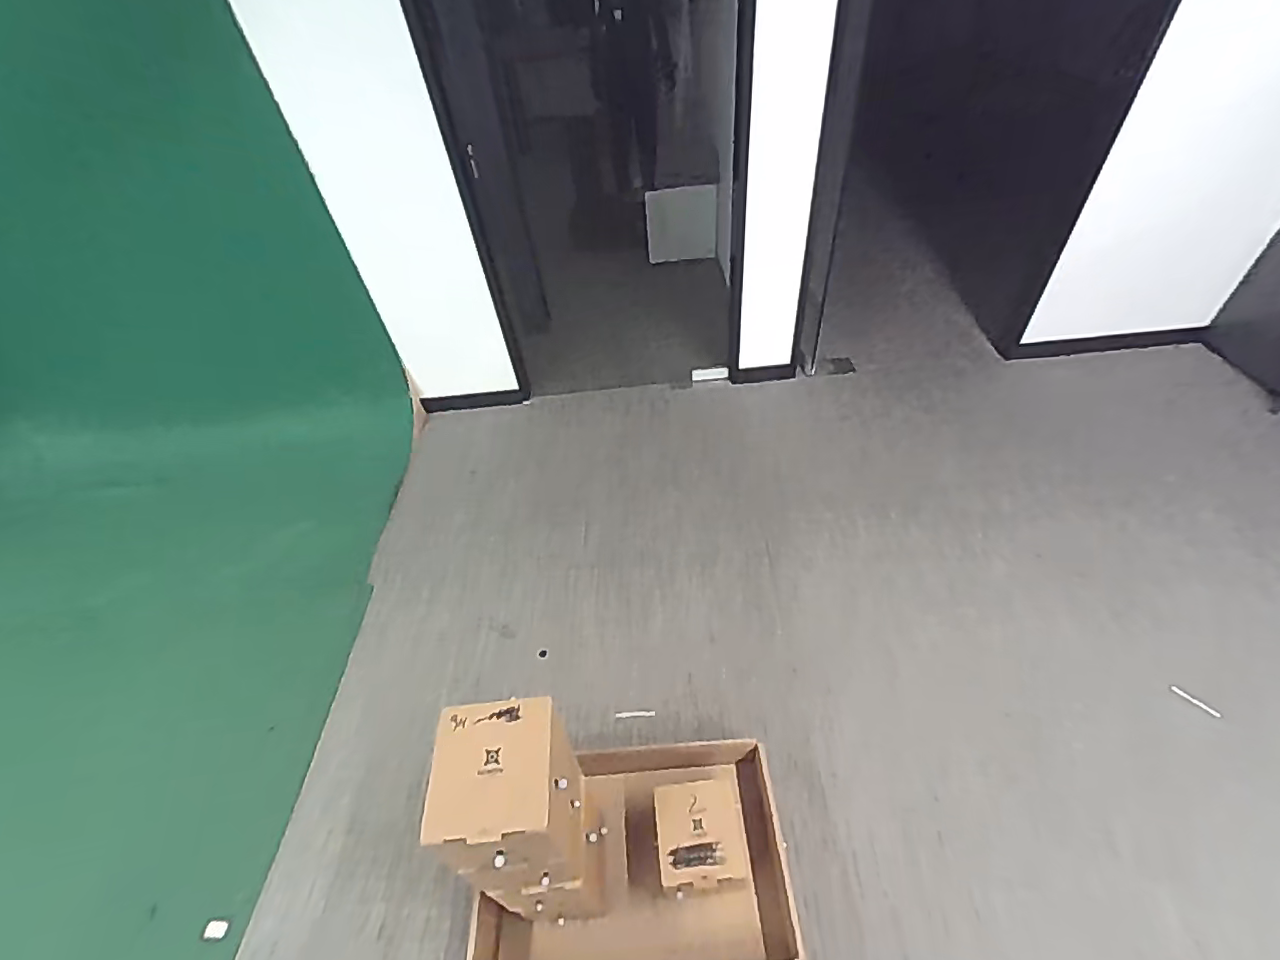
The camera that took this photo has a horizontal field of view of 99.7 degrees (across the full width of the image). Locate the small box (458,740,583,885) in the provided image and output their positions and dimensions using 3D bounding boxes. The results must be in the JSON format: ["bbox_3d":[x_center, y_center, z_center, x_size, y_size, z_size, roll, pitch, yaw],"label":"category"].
[{"bbox_3d":[-0.187,0.559,0.906,0.168,0.176,0.179,-5,45,-1],"label":"small box"}]

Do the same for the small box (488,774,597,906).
[{"bbox_3d":[-0.174,0.678,1.018,0.168,0.176,0.179,-4,46,1],"label":"small box"}]

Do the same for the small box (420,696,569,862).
[{"bbox_3d":[-0.198,0.442,0.792,0.168,0.176,0.179,-5,46,-1],"label":"small box"}]

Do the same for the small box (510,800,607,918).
[{"bbox_3d":[-0.162,0.793,1.132,0.168,0.176,0.179,-4,45,2],"label":"small box"}]
